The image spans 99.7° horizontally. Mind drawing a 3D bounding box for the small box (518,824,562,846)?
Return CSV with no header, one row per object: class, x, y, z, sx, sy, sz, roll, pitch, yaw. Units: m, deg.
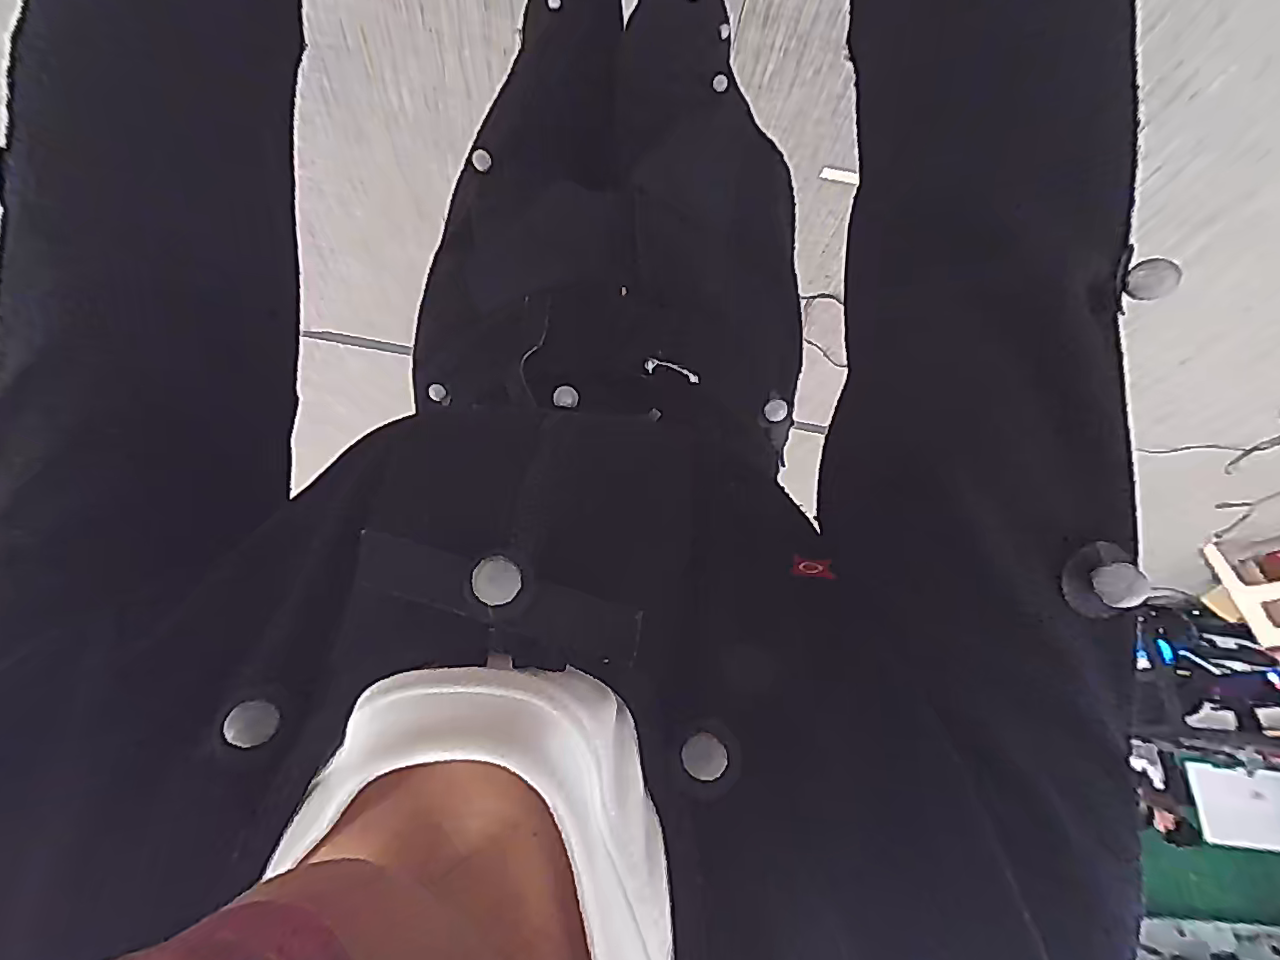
small box,-0.401,1.445,2.102,0.168,0.176,0.179,9,152,-7
